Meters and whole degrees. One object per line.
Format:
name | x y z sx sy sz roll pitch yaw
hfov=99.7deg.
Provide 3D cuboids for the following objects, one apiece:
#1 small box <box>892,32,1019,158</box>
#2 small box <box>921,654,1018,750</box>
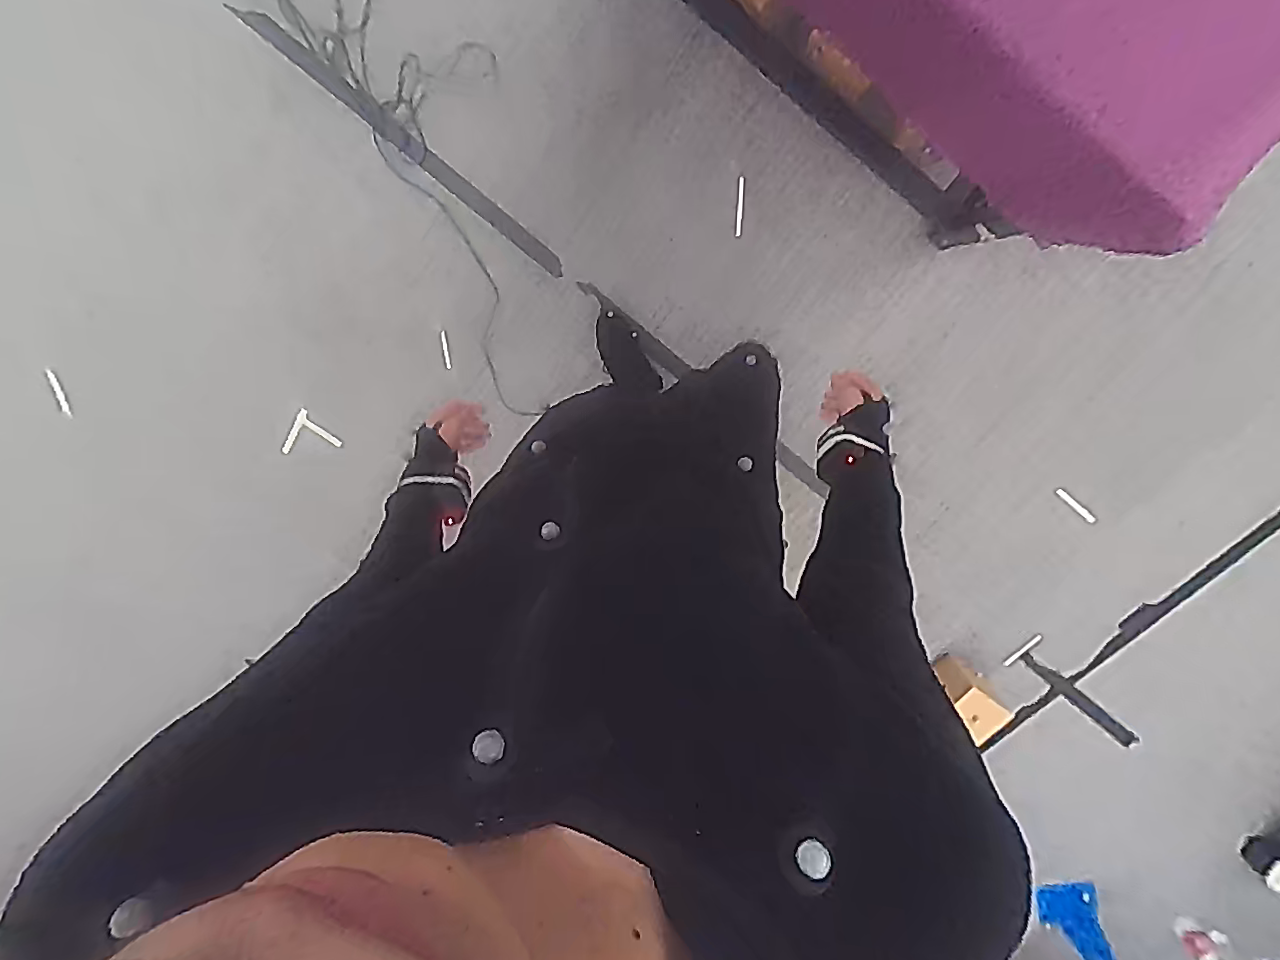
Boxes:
small box | 0.688 -0.848 1.205 0.168 0.176 0.179 10 109 3
small box | 1.012 0.687 1.687 0.168 0.176 0.179 35 108 -6
